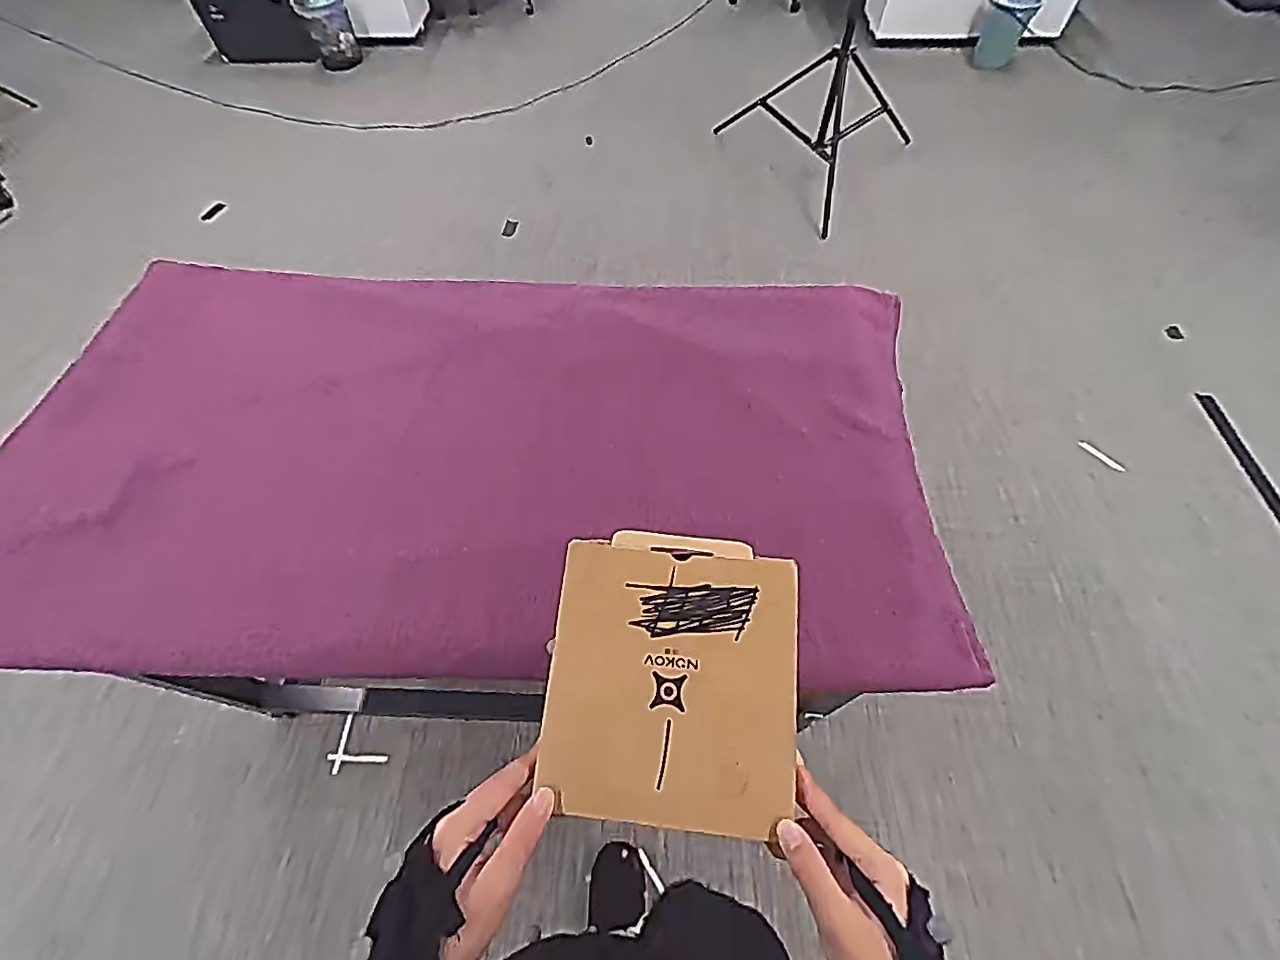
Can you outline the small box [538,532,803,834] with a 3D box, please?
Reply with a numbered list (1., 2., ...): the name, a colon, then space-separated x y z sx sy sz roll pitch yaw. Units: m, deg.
1. small box: 0.029 0.154 0.436 0.168 0.176 0.179 5 70 5
